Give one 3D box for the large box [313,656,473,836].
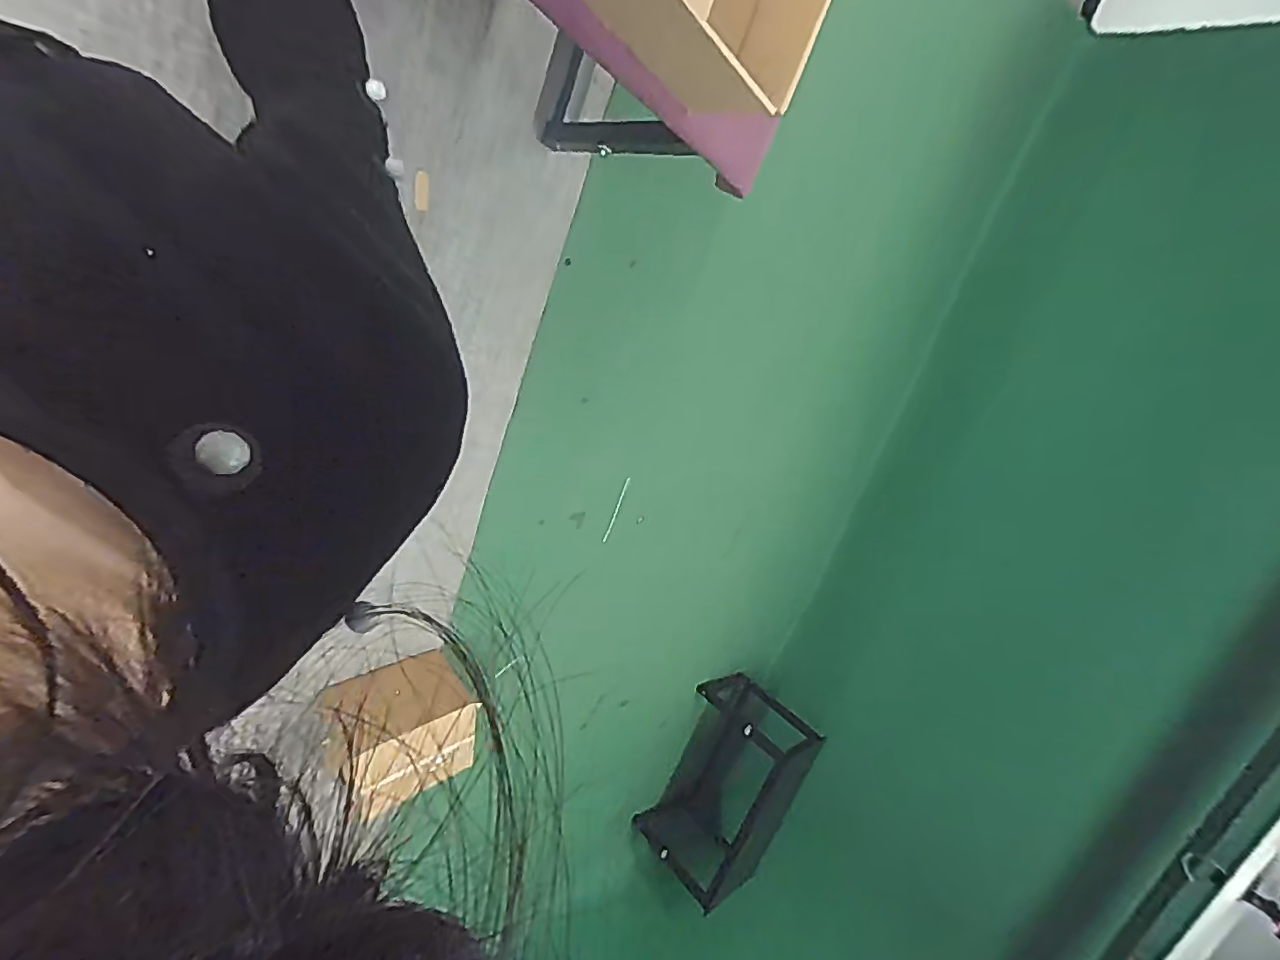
[{"bbox_3d":[-0.825,0.867,1.823,0.408,0.320,0.320,-12,122,-43],"label":"large box"}]
